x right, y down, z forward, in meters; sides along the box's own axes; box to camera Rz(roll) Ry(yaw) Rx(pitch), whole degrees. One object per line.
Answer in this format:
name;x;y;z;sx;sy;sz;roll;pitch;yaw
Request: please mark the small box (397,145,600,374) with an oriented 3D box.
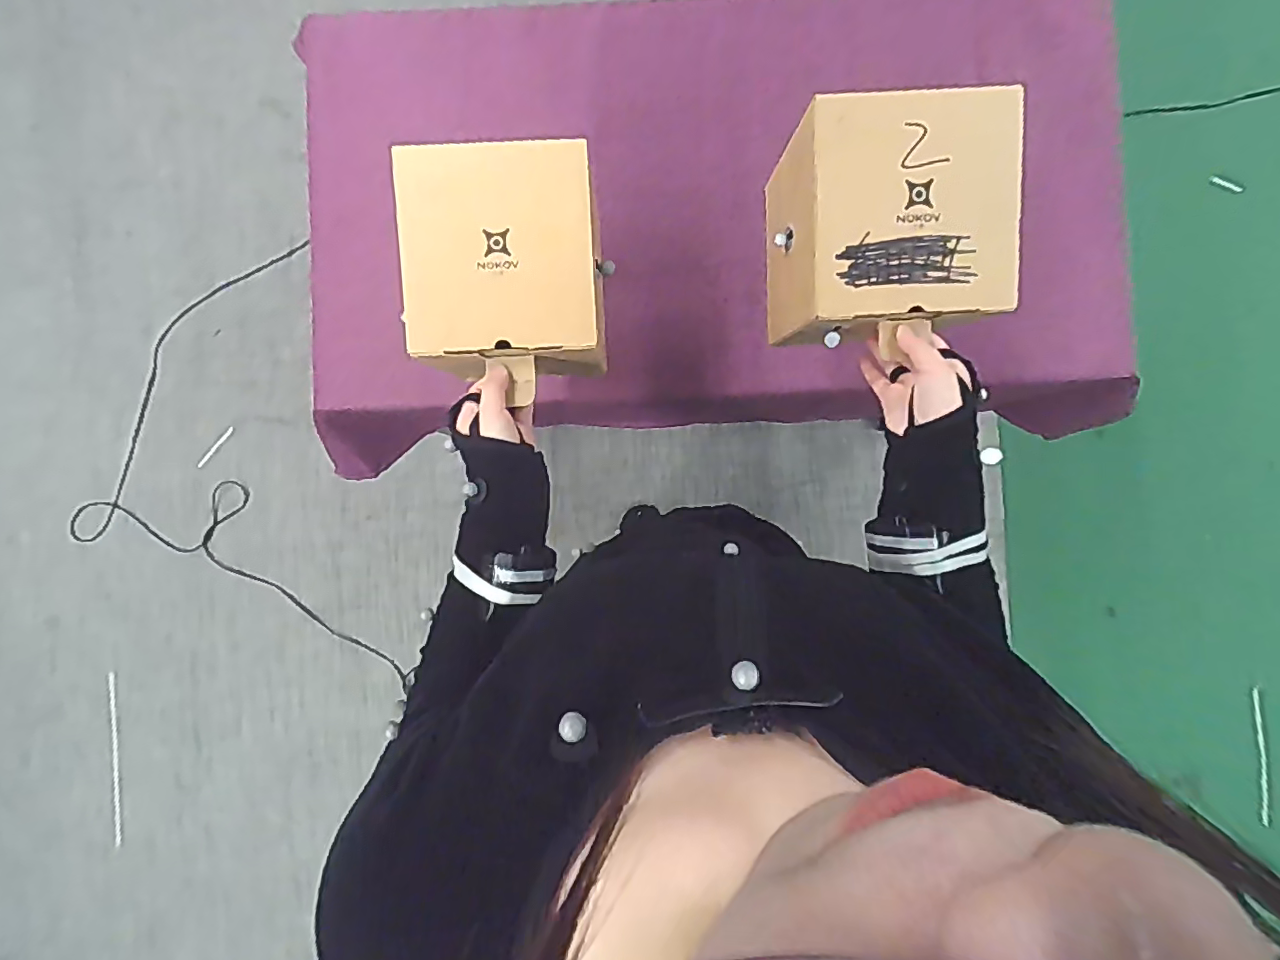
small box;-0.129;-0.209;0.554;0.168;0.176;0.179;-3;95;-1
